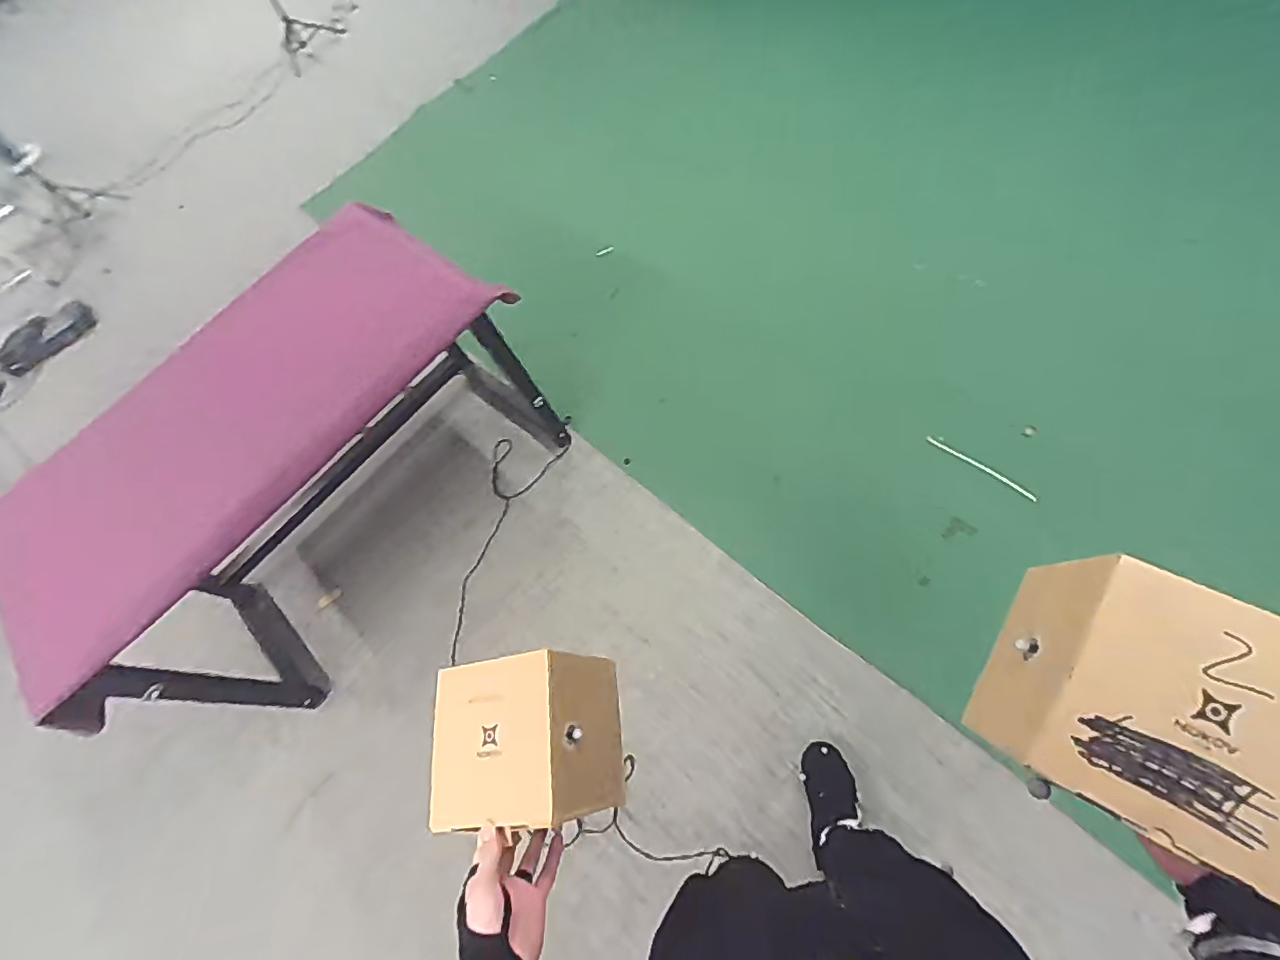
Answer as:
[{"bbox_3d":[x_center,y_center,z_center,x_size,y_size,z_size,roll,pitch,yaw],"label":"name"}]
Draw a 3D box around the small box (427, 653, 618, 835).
[{"bbox_3d":[-0.138,0.320,0.673,0.168,0.176,0.179,-17,63,20],"label":"small box"}]
